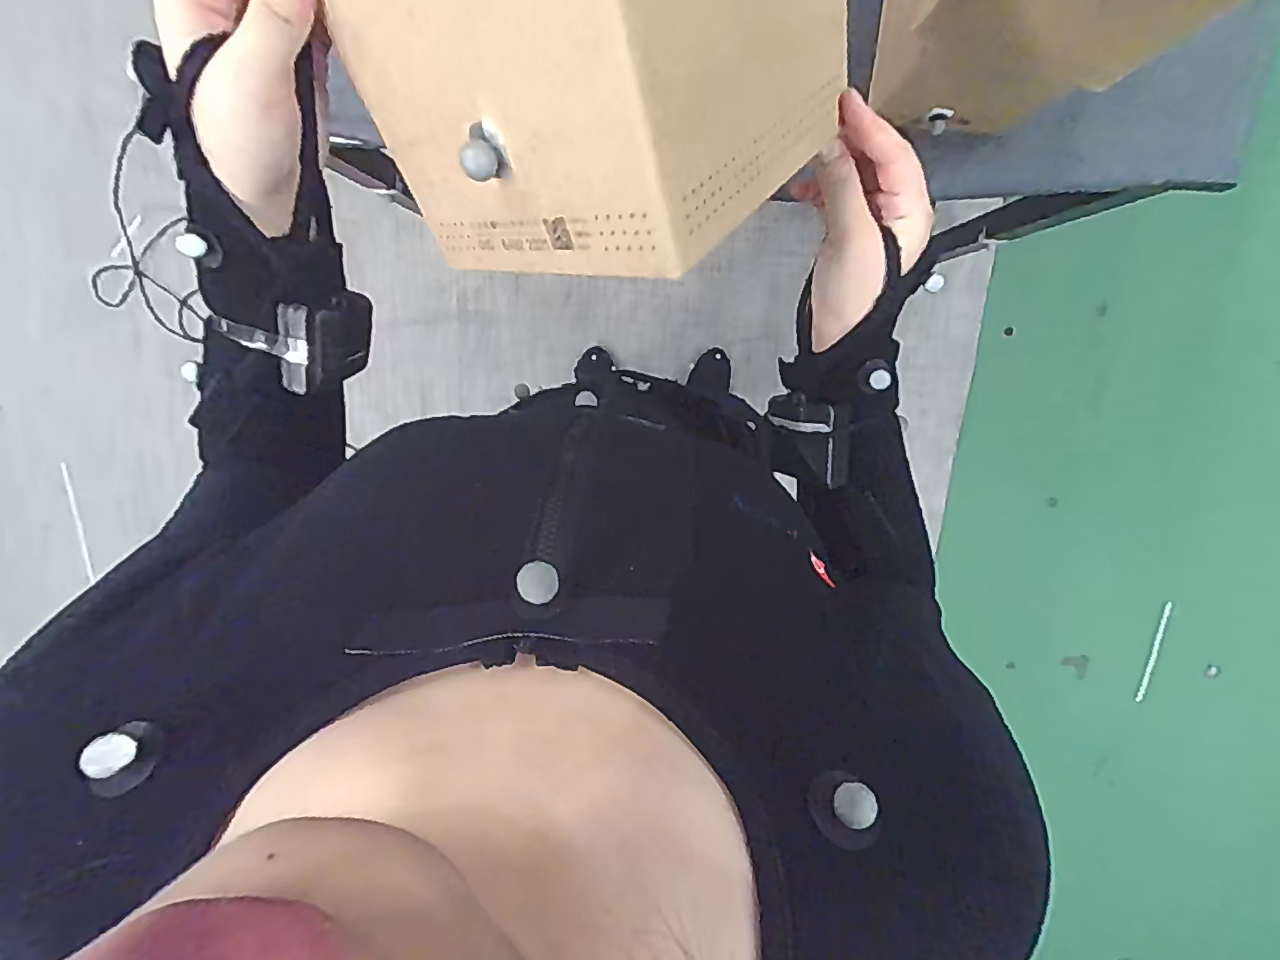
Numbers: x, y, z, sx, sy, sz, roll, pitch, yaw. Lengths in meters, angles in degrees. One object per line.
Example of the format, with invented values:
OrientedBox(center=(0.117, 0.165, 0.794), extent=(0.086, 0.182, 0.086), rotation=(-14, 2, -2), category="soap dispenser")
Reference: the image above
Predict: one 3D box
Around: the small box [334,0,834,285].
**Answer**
OrientedBox(center=(-0.020, -0.216, 0.253), extent=(0.168, 0.179, 0.176), rotation=(20, 147, 36), category="small box")

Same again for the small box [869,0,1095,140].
OrientedBox(center=(0.344, -0.467, 0.529), extent=(0.168, 0.176, 0.179), rotation=(6, 104, 3), category="small box")
